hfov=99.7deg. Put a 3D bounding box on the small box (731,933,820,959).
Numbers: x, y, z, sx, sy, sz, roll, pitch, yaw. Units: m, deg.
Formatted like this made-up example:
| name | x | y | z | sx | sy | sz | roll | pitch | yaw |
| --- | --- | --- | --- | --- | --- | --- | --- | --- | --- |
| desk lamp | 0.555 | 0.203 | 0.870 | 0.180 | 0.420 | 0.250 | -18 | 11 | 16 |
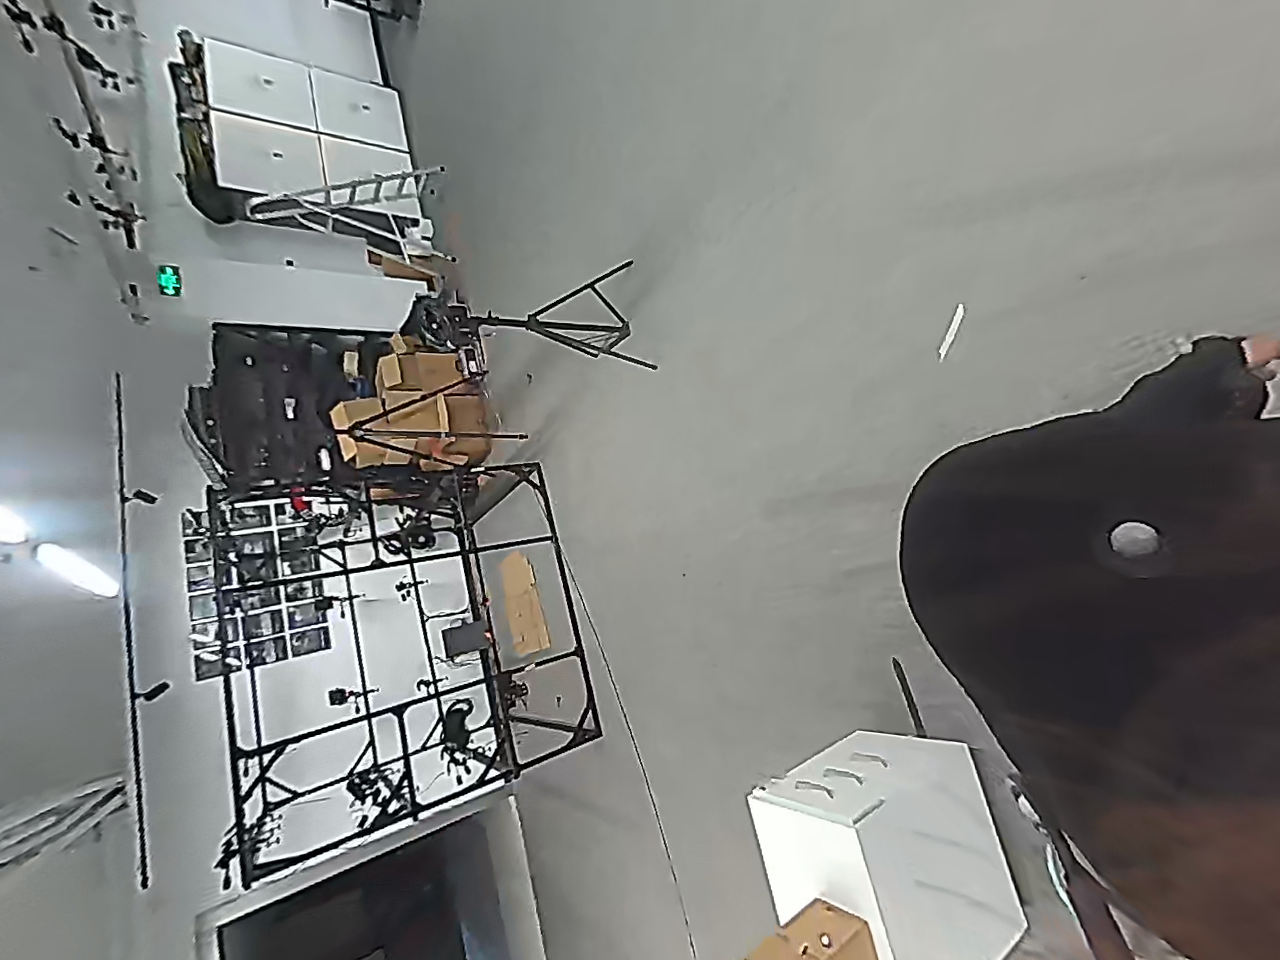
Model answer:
| name | x | y | z | sx | sy | sz | roll | pitch | yaw |
| --- | --- | --- | --- | --- | --- | --- | --- | --- | --- |
| small box | 0.328 | 1.199 | 1.242 | 0.179 | 0.176 | 0.168 | -25 | 76 | 56 |
